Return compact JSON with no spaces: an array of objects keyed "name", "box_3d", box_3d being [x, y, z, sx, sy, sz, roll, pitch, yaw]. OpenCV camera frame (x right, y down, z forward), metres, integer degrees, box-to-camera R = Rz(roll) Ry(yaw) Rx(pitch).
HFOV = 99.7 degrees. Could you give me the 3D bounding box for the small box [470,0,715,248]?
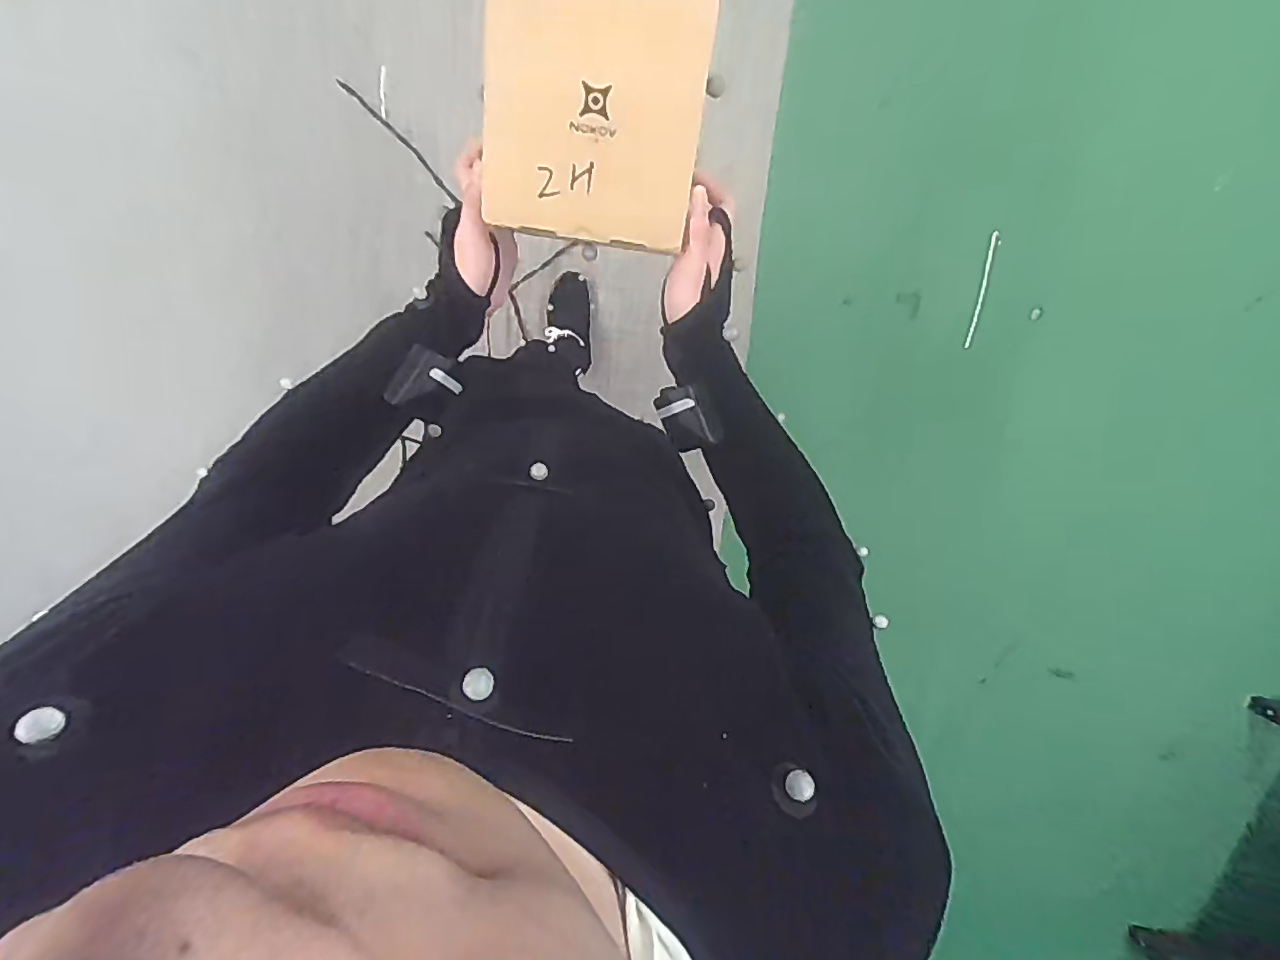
[{"name":"small box","box_3d":[-0.041,-0.310,0.470,0.168,0.176,0.179,8,112,-3]}]
